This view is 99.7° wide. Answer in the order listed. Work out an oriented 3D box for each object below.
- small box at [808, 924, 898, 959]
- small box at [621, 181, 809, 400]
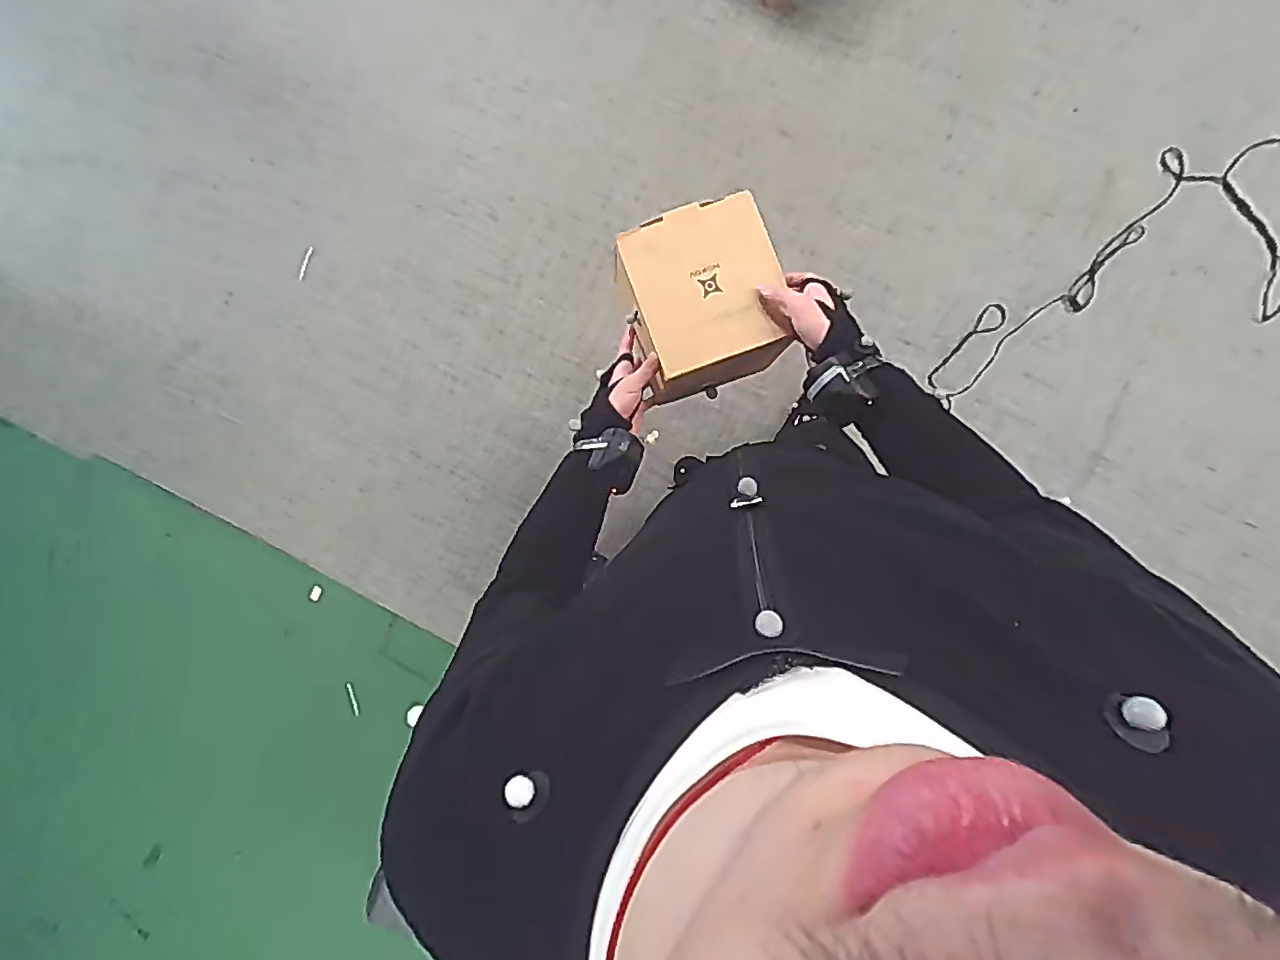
[{"bbox_3d":[0.336,0.826,0.801,0.168,0.176,0.179,30,99,2],"label":"small box"},{"bbox_3d":[0.079,-0.216,0.660,0.168,0.176,0.179,-18,87,-1],"label":"small box"}]
